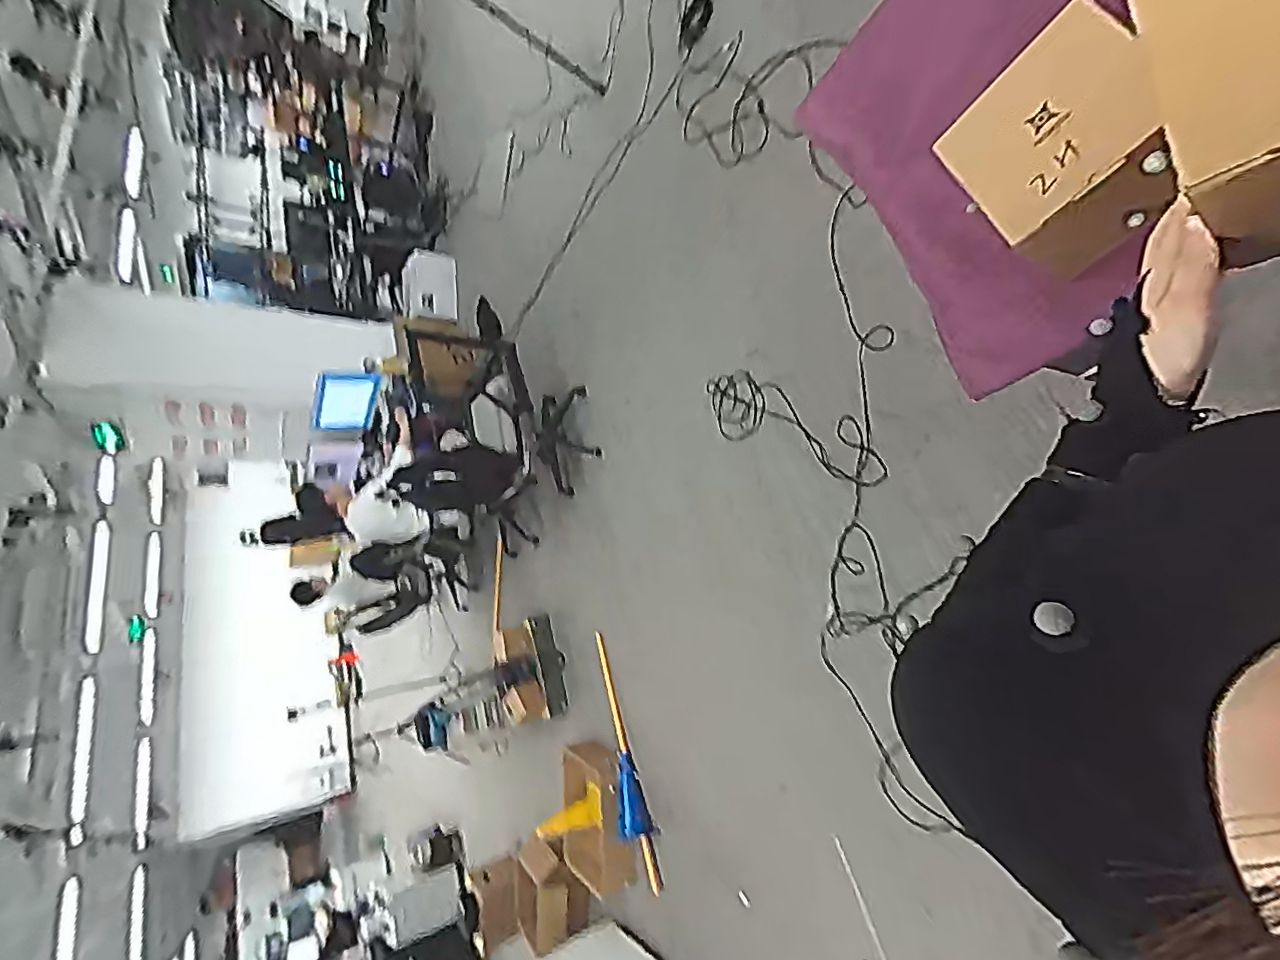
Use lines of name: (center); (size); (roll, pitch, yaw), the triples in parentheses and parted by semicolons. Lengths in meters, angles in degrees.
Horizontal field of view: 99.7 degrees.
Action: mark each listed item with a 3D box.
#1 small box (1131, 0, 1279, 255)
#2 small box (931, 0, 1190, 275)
small box: (0.395, -0.254, 0.289); (0.168, 0.176, 0.179); (-18, 76, 52)
small box: (0.472, -0.357, 0.595); (0.168, 0.176, 0.179); (-45, 55, 45)
